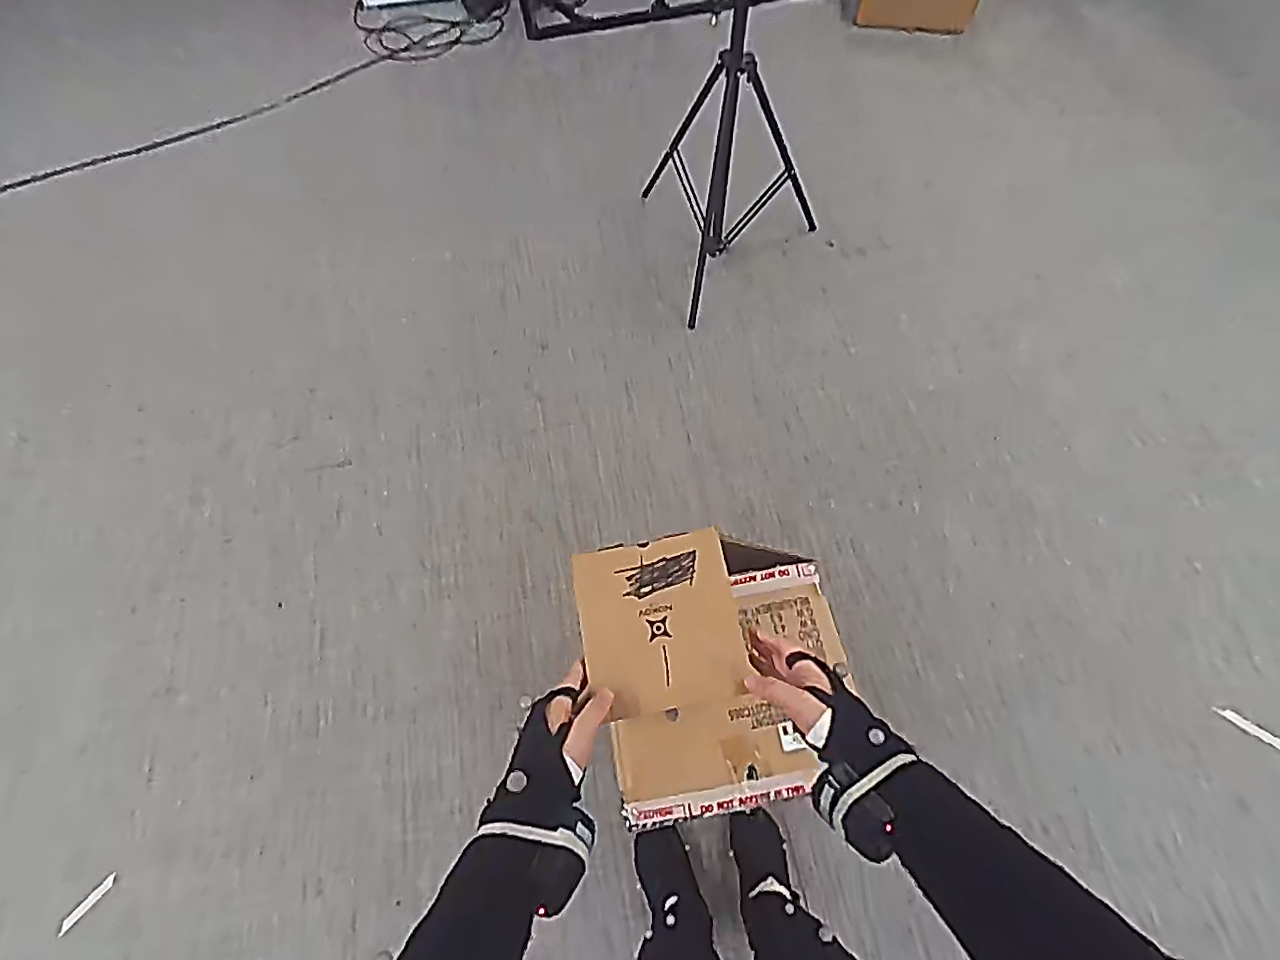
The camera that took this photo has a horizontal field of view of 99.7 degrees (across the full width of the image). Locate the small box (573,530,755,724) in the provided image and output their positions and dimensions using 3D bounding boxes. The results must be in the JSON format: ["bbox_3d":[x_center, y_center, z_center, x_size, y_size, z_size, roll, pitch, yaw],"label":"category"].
[{"bbox_3d":[0.024,0.177,0.637,0.168,0.176,0.179,-11,70,0],"label":"small box"}]
